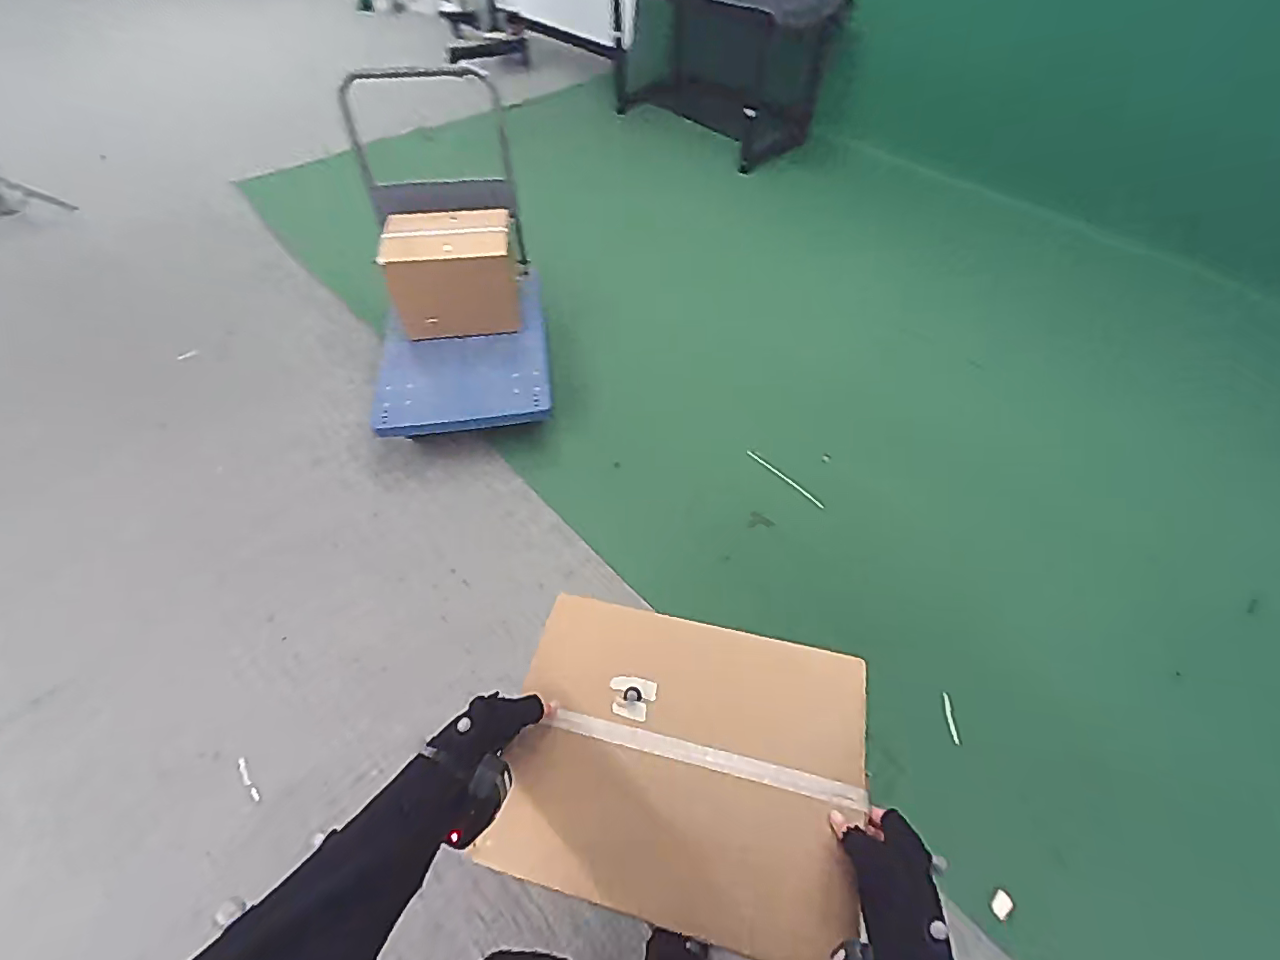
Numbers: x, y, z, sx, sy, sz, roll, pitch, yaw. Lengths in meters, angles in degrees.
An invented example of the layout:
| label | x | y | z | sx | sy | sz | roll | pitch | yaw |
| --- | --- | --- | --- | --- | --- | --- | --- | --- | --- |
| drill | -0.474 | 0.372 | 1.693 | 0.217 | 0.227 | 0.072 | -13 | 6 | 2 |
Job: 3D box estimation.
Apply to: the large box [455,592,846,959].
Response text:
| label | x | y | z | sx | sy | sz | roll | pitch | yaw |
| --- | --- | --- | --- | --- | --- | --- | --- | --- | --- |
| large box | 0.041 | 0.387 | 0.742 | 0.408 | 0.320 | 0.320 | 9 | 56 | 13 |
